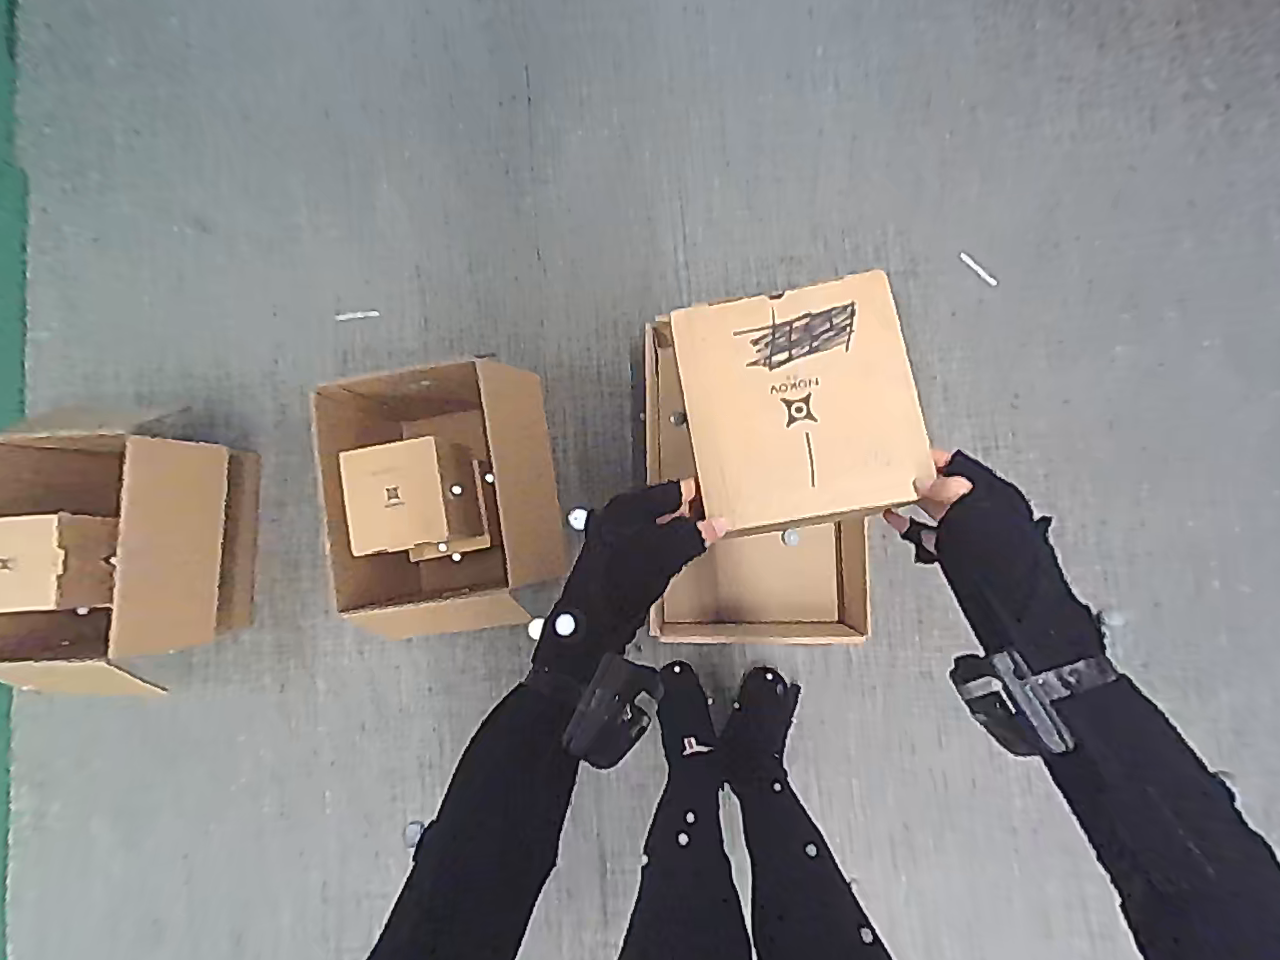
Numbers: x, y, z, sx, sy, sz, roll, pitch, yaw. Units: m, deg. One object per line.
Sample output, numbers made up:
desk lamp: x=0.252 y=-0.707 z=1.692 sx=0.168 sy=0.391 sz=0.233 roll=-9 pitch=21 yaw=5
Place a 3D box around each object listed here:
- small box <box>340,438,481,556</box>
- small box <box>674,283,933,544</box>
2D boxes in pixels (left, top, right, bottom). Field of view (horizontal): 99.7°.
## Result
small box: x=-0.396 y=0.031 z=0.962 sx=0.168 sy=0.176 sz=0.179 roll=-10 pitch=86 yaw=3
small box: x=0.124 y=-0.043 z=0.483 sx=0.168 sy=0.176 sz=0.179 roll=-10 pitch=81 yaw=5
